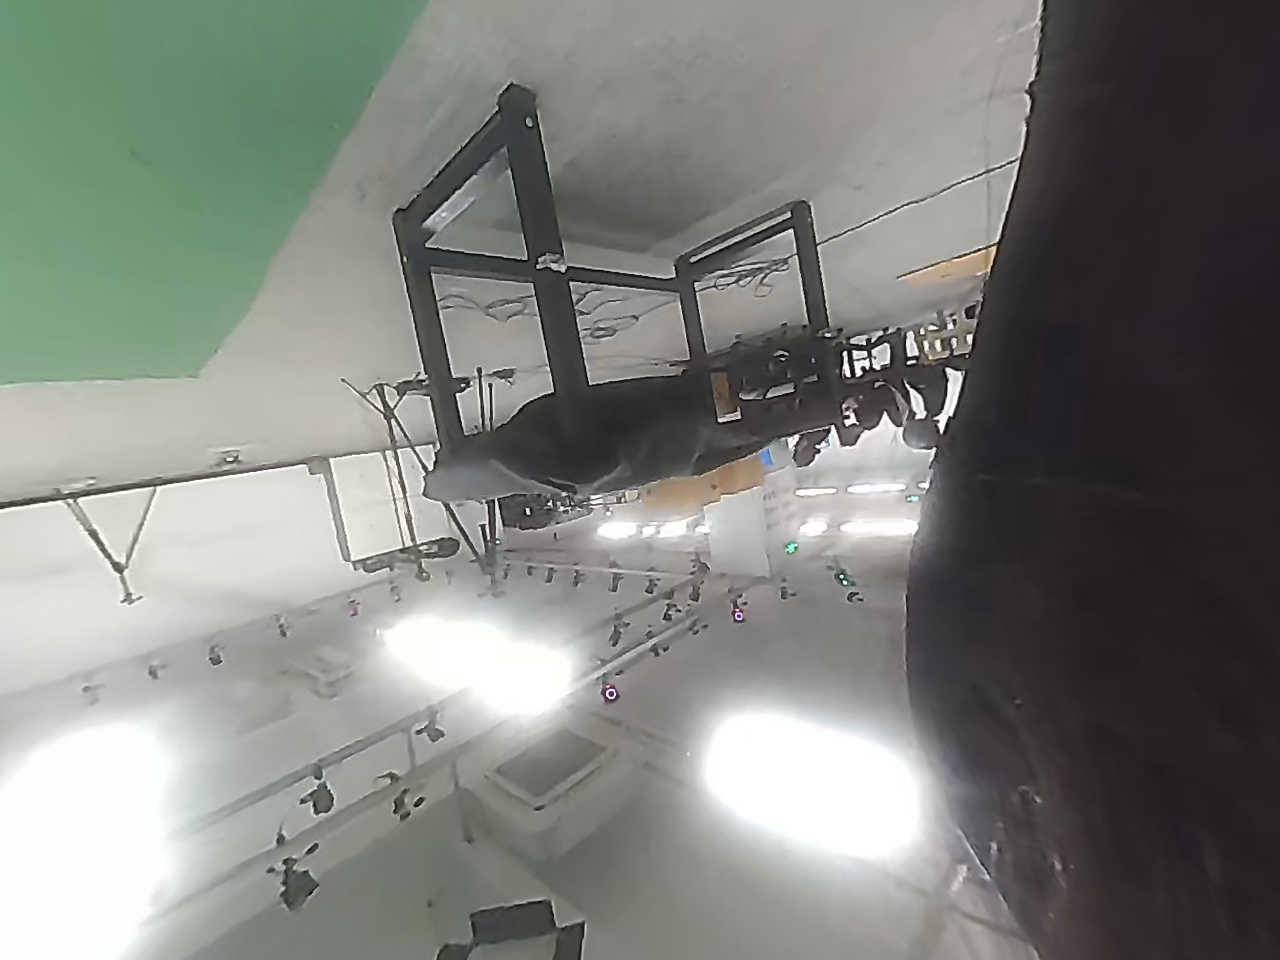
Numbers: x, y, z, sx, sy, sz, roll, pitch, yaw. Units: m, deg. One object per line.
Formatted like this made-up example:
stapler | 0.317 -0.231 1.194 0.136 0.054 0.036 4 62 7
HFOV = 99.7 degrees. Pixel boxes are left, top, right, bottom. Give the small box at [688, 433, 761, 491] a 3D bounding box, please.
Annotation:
small box | 0.277 -0.062 1.794 0.168 0.176 0.179 -14 -174 -43
